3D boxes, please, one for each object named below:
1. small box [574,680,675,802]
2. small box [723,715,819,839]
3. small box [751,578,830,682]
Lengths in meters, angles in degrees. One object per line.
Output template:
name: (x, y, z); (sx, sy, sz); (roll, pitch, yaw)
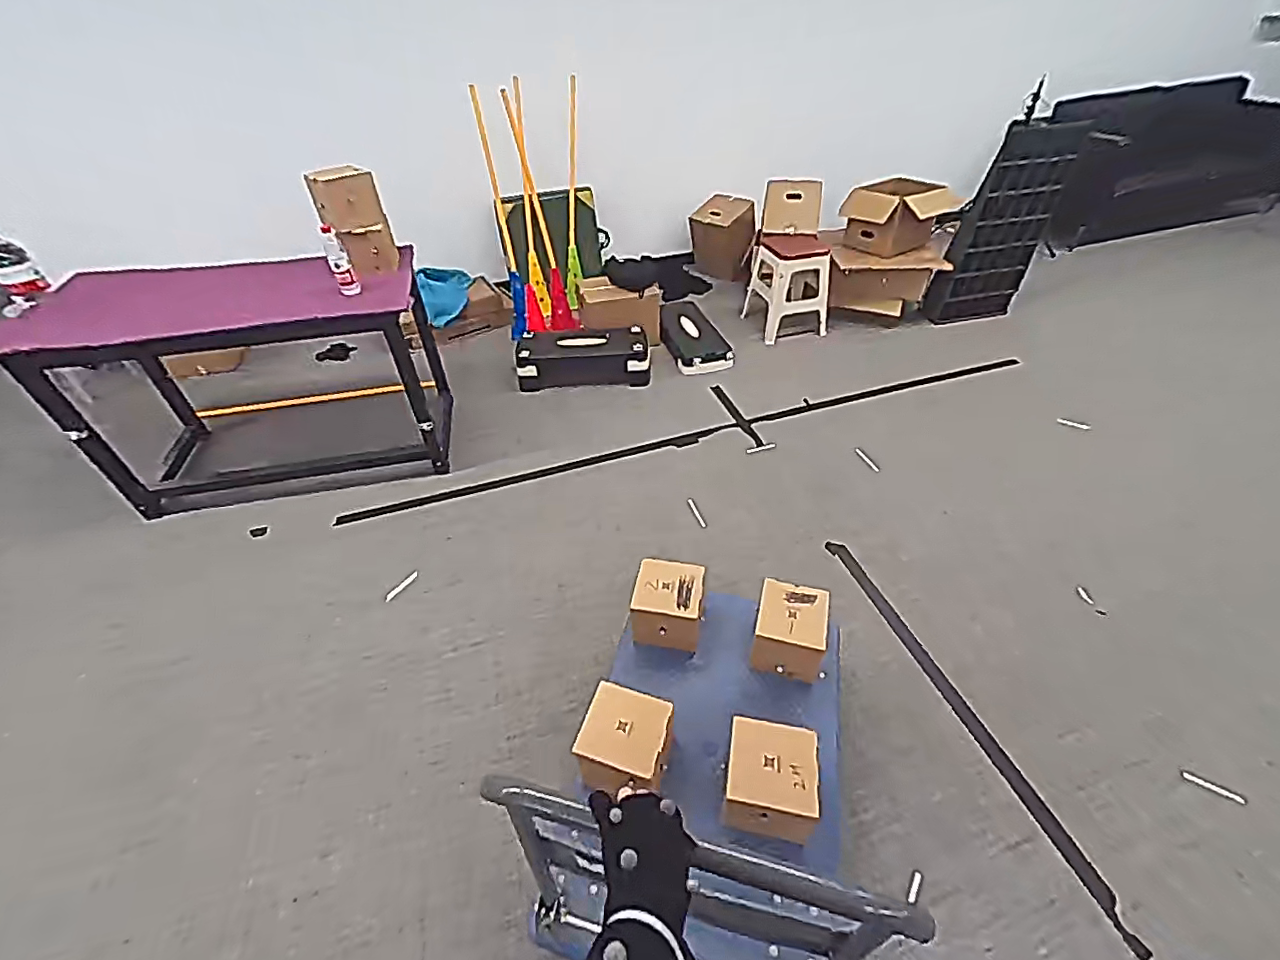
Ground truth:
small box: (-0.028, 0.581, 1.200); (0.179, 0.176, 0.168); (13, 44, 14)
small box: (0.271, 0.625, 1.135); (0.179, 0.176, 0.168); (7, 43, 11)
small box: (0.384, 0.385, 1.392); (0.168, 0.176, 0.179); (10, 45, 14)
